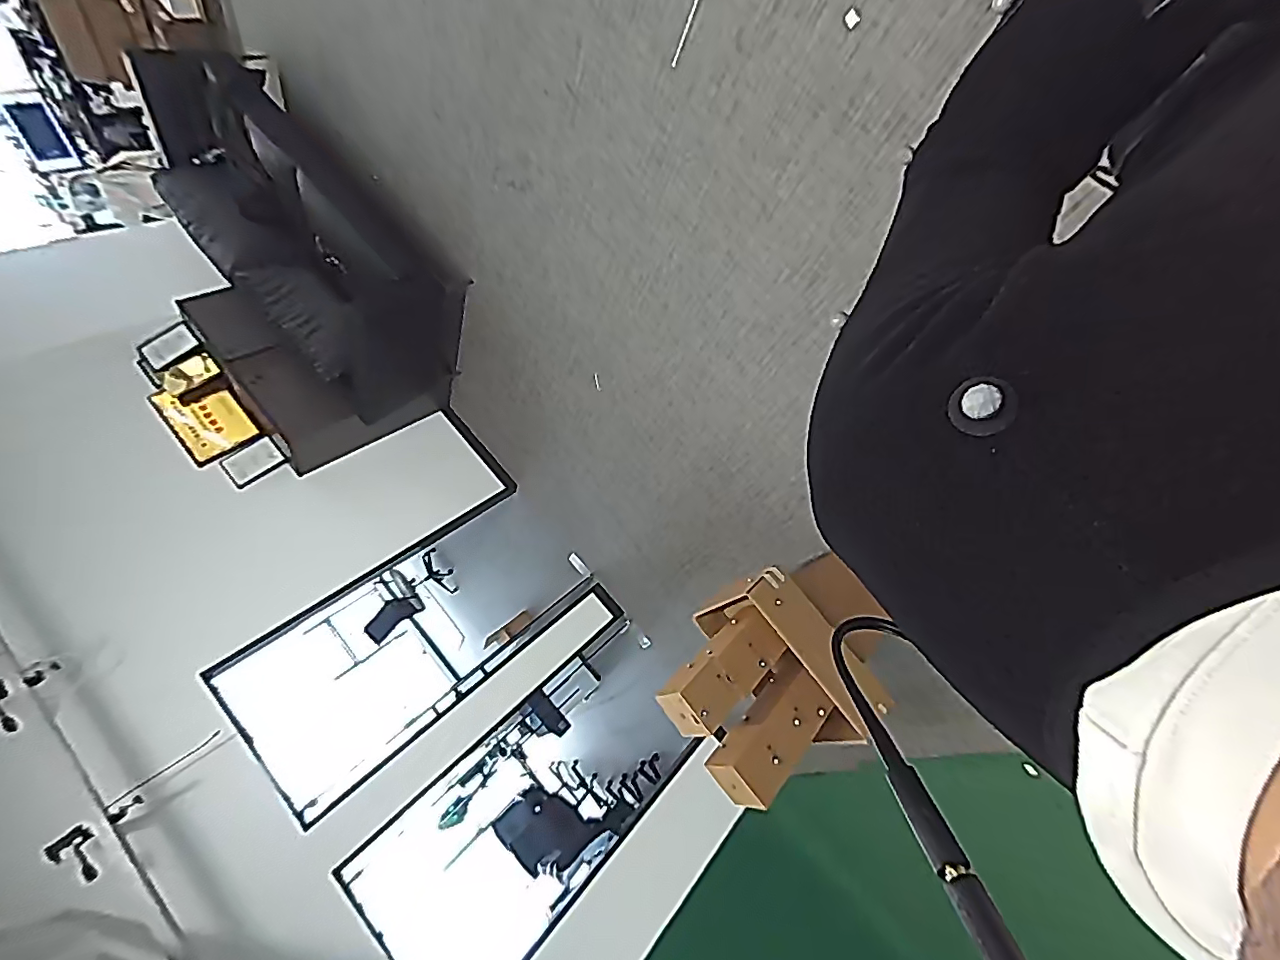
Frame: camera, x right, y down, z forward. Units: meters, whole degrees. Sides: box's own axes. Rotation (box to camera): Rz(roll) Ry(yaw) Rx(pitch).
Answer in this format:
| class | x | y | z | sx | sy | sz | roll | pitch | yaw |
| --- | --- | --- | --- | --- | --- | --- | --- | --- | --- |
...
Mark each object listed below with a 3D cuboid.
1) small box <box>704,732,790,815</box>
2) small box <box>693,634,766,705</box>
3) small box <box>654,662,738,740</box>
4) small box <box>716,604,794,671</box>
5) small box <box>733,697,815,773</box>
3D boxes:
| class | x | y | z | sx | sy | sz | roll | pitch | yaw |
| --- | --- | --- | --- | --- | --- | --- | --- | --- | --- |
| small box | 0.346 | 0.936 | 1.741 | 0.168 | 0.176 | 0.179 | 51 | 145 | 4 |
| small box | 0.303 | 0.645 | 1.841 | 0.168 | 0.176 | 0.179 | 53 | 145 | 4 |
| small box | 0.184 | 0.716 | 1.753 | 0.168 | 0.176 | 0.179 | 52 | 145 | 4 |
| small box | 0.415 | 0.569 | 1.935 | 0.168 | 0.176 | 0.179 | 52 | 144 | 4 |
| small box | 0.457 | 0.861 | 1.834 | 0.168 | 0.176 | 0.179 | 51 | 145 | 5 |
